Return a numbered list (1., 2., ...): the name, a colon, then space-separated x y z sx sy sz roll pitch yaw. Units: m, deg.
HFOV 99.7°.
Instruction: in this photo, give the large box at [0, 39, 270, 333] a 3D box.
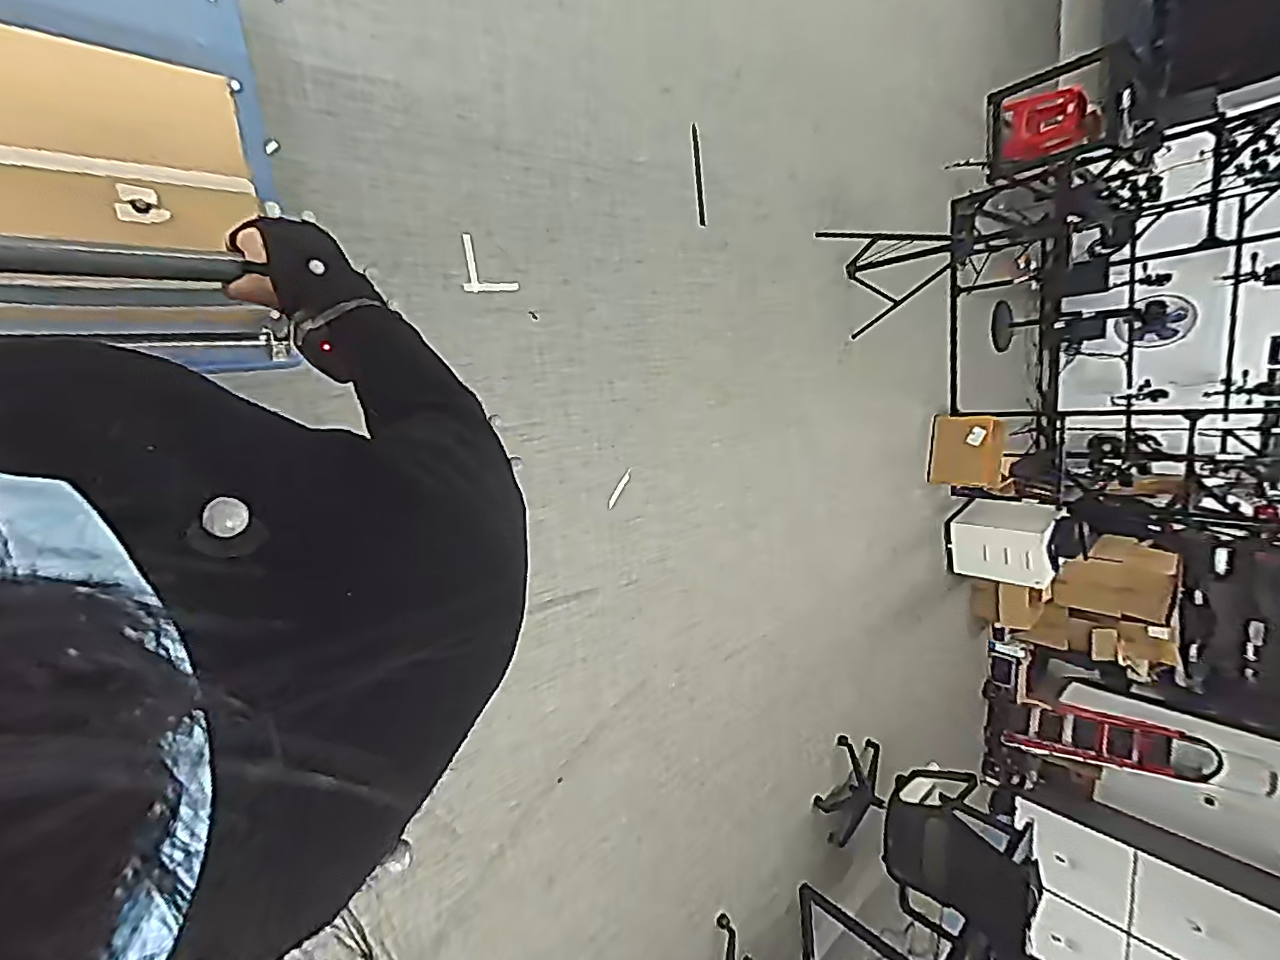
1. large box: -0.845 -0.402 0.812 0.408 0.320 0.320 -13 103 -40
